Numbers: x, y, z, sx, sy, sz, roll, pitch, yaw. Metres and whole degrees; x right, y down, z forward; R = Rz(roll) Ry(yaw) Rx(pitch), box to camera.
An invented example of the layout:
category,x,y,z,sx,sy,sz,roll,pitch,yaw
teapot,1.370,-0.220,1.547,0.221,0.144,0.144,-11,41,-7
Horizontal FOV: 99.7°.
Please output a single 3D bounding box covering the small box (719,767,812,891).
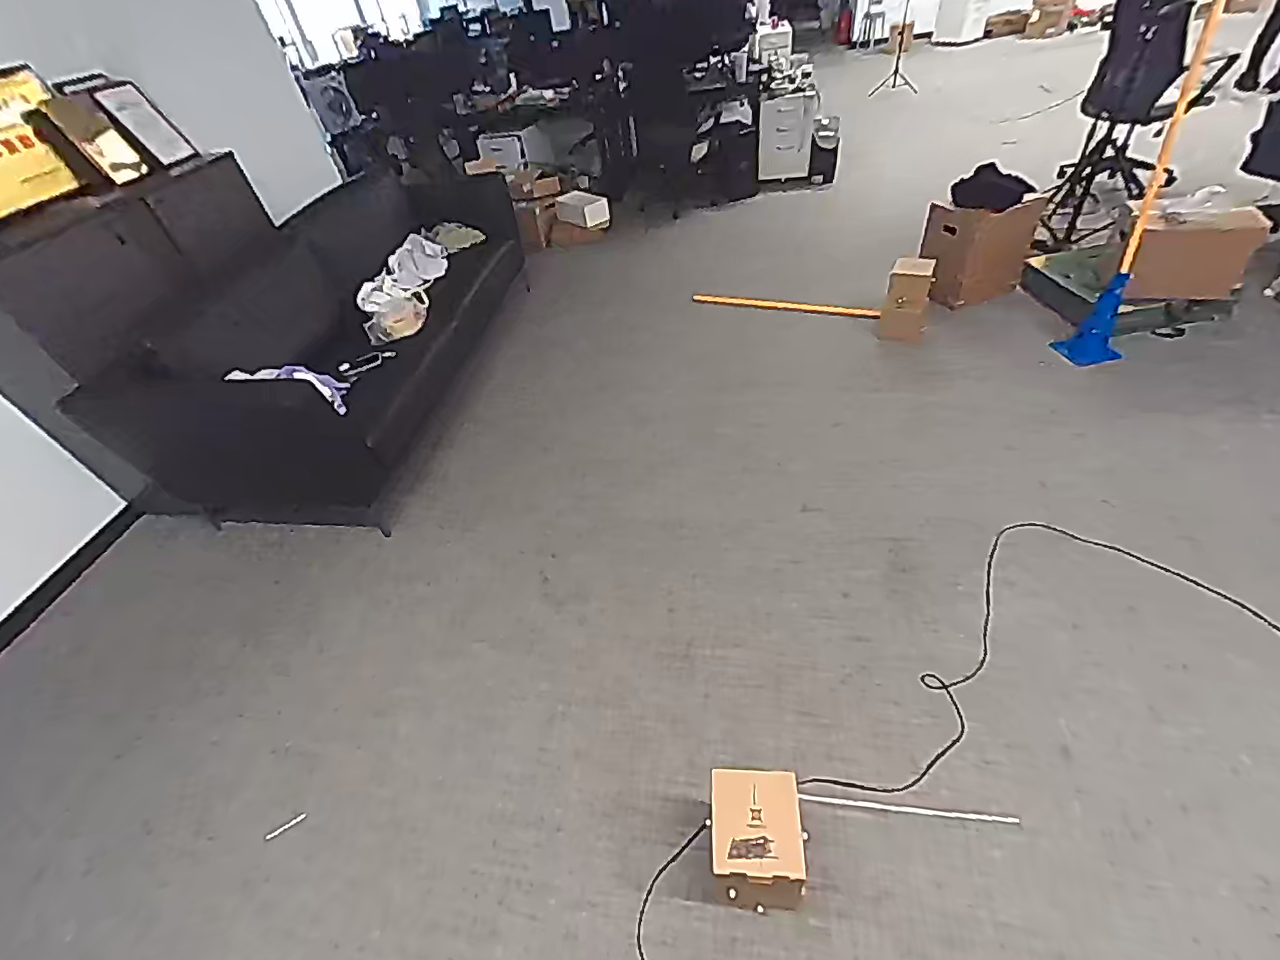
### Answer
category,x,y,z,sx,sy,sz,roll,pitch,yaw
small box,0.246,0.697,1.078,0.168,0.176,0.179,-3,44,10
